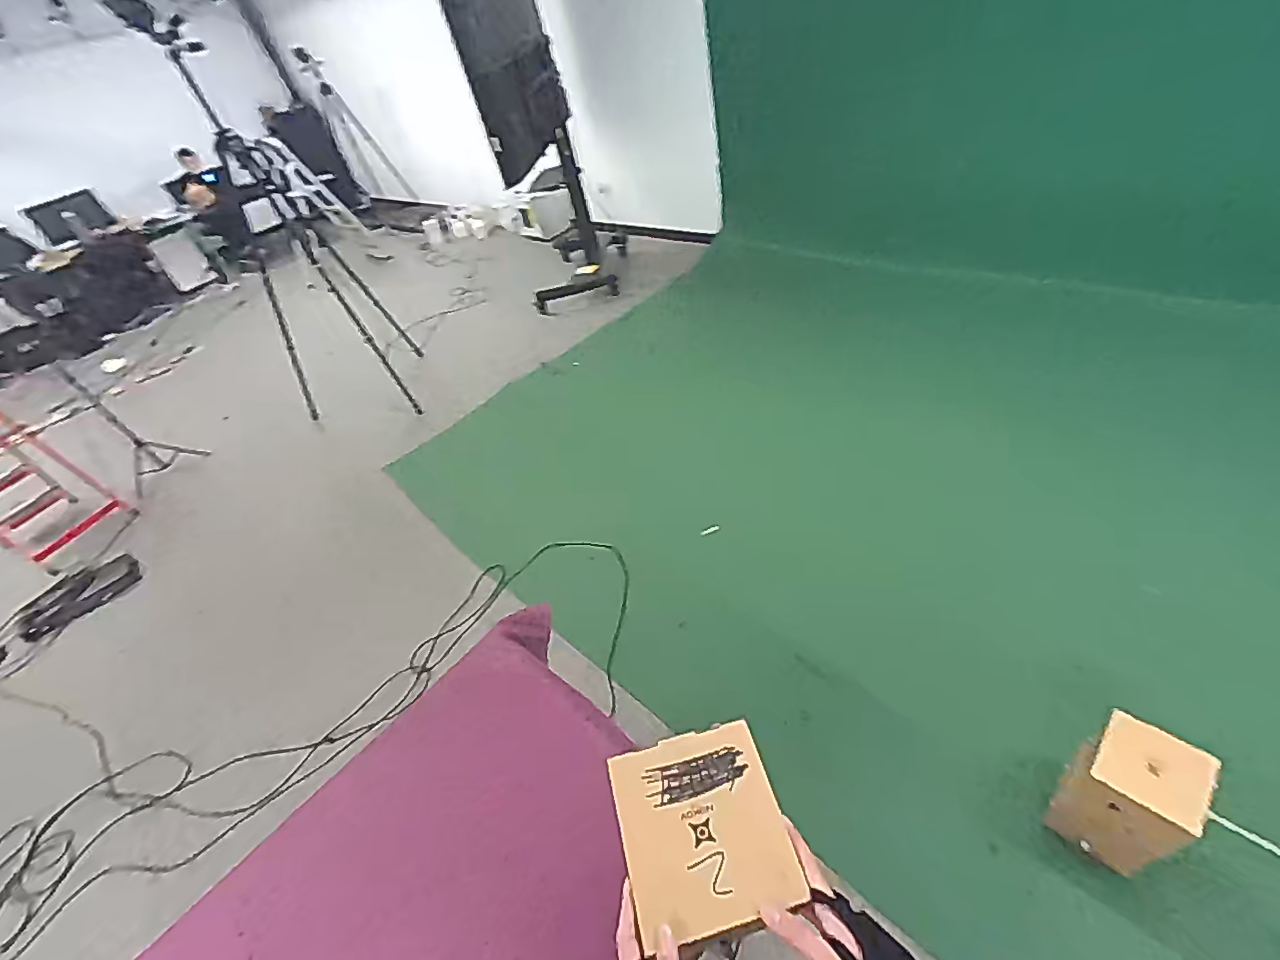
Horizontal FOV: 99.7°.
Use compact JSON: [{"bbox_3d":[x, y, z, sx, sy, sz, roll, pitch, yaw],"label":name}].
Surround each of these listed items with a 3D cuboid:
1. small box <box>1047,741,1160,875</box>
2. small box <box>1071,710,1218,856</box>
[{"bbox_3d":[1.065,0.745,1.229,0.168,0.176,0.179,27,57,38],"label":"small box"},{"bbox_3d":[1.034,0.629,1.121,0.168,0.176,0.179,26,55,38],"label":"small box"}]
